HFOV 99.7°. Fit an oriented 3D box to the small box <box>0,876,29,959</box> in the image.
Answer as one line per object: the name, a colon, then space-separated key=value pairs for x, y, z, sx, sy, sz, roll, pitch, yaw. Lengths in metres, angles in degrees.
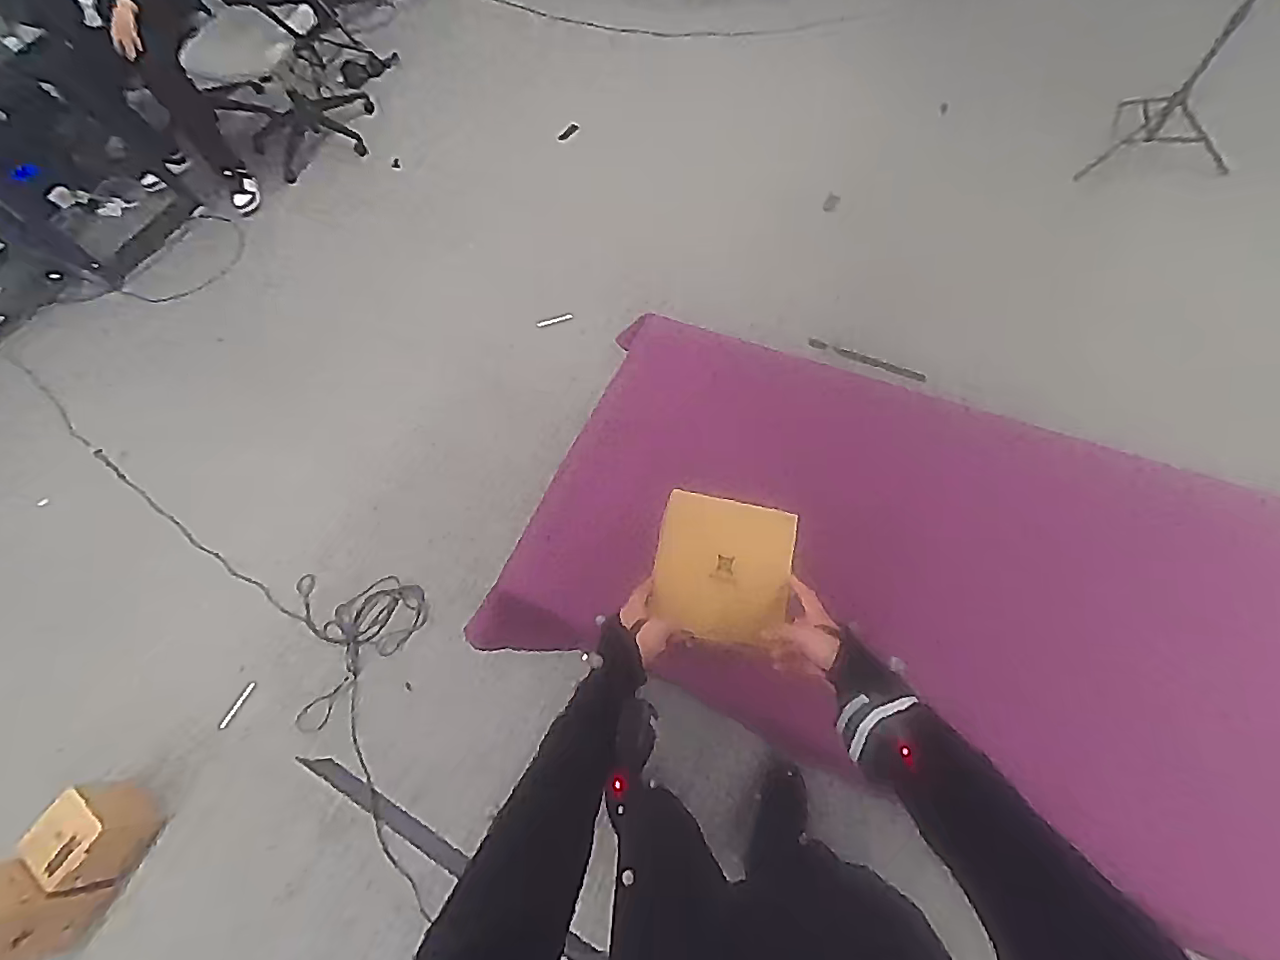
small box: x=-1.522 y=1.020 z=1.188 sx=0.168 sy=0.176 sz=0.179 roll=27 pitch=72 yaw=19

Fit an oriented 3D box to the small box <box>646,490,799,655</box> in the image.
small box: x=0.104 y=0.133 z=0.744 sx=0.168 sy=0.176 sz=0.179 roll=12 pitch=73 yaw=2
